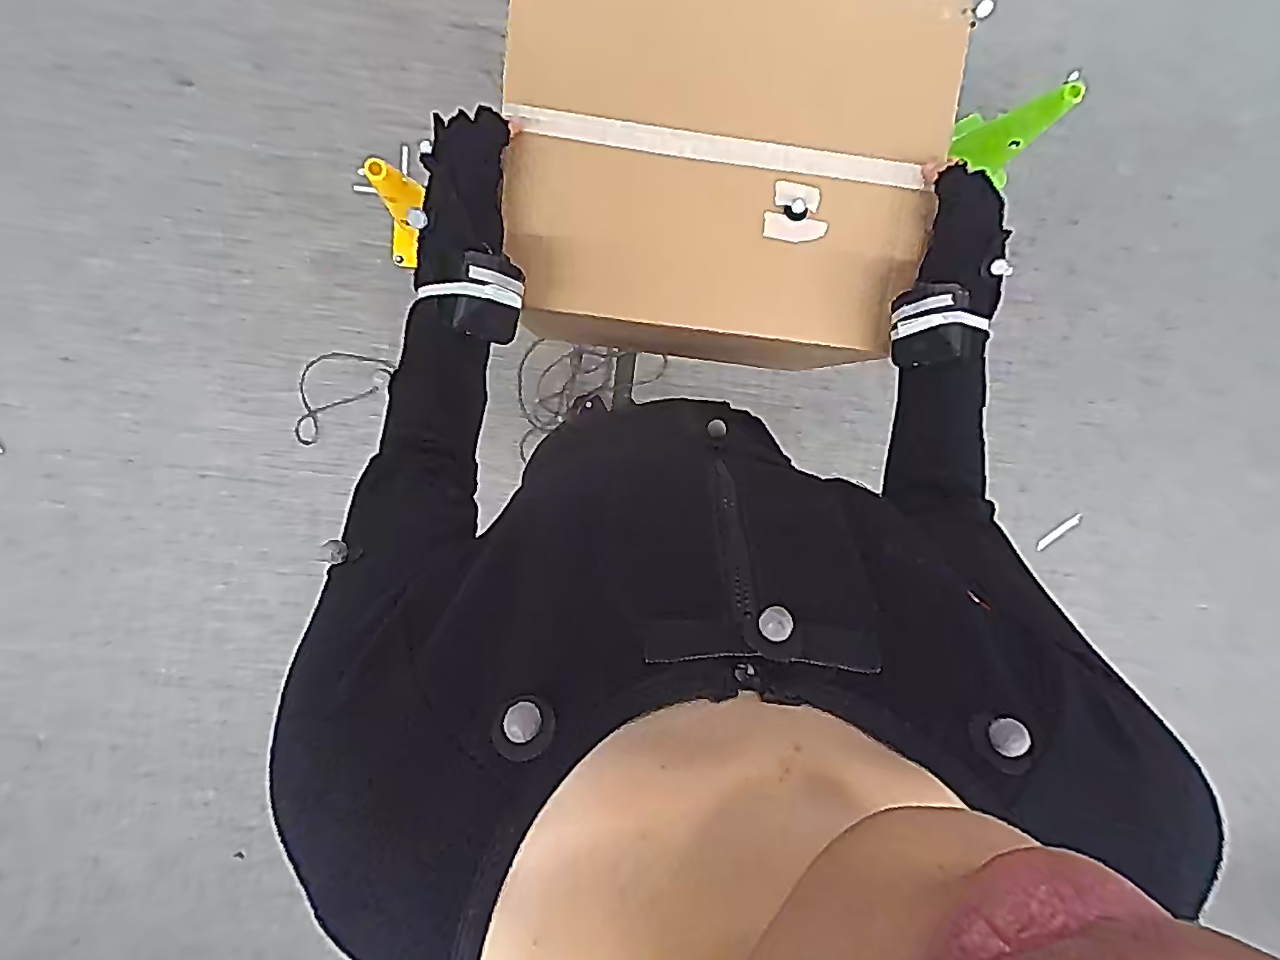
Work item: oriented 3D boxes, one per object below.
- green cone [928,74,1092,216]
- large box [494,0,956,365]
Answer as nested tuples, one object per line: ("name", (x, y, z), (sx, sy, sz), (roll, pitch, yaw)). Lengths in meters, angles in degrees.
("green cone", (0.841, -0.787, 1.224), (0.202, 0.368, 0.200), (-31, 100, 0))
("large box", (0.064, -0.320, 0.638), (0.408, 0.320, 0.320), (6, 98, -5))
